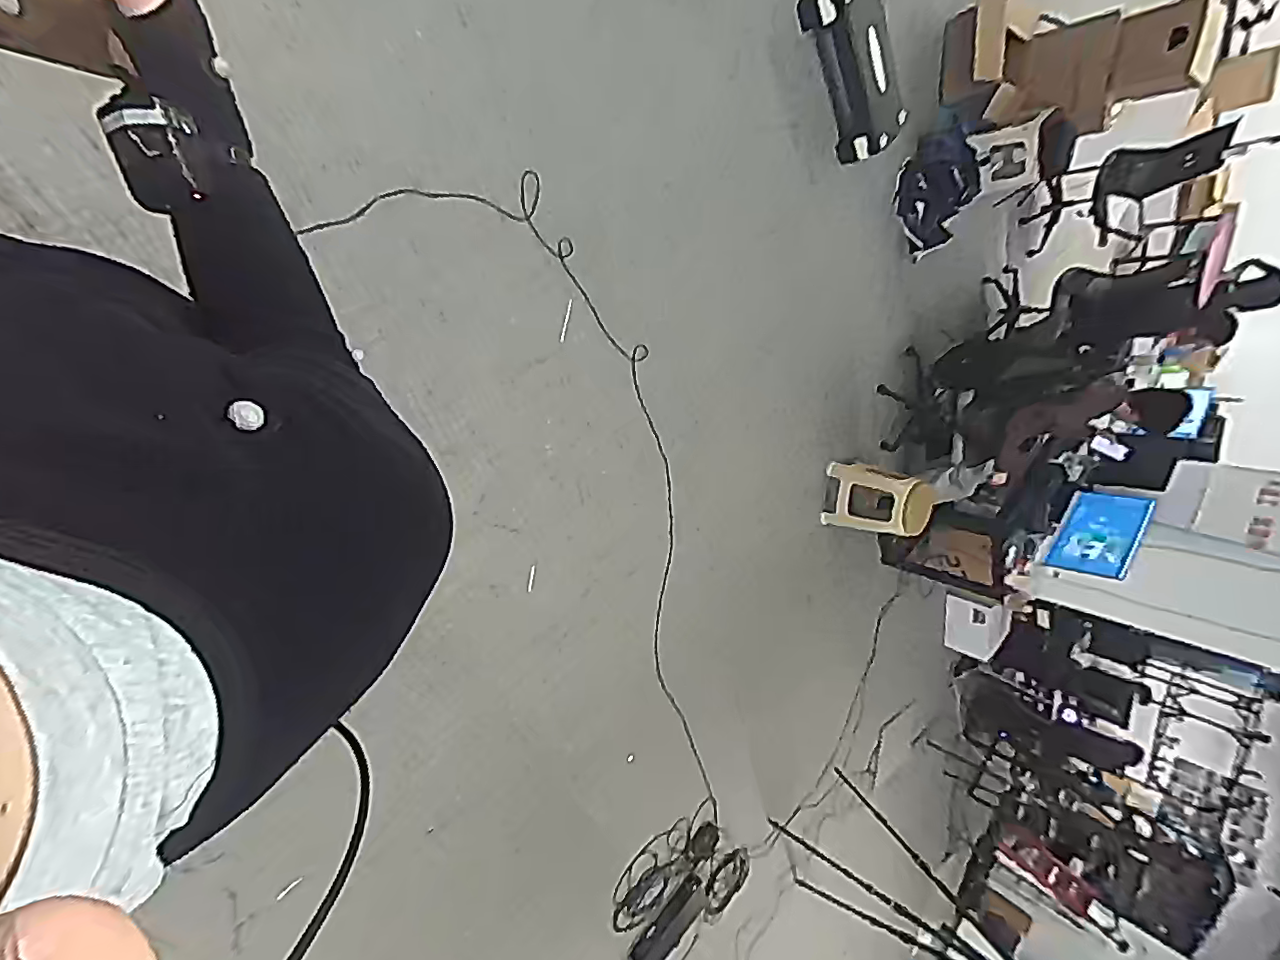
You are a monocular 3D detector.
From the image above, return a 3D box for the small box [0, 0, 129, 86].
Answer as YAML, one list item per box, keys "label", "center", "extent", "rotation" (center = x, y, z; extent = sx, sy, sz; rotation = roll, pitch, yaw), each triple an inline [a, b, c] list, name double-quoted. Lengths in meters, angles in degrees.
- label: "small box"
  center: [-0.418, -0.378, 0.309]
  extent: [0.168, 0.176, 0.179]
  rotation: [-7, 97, -40]
